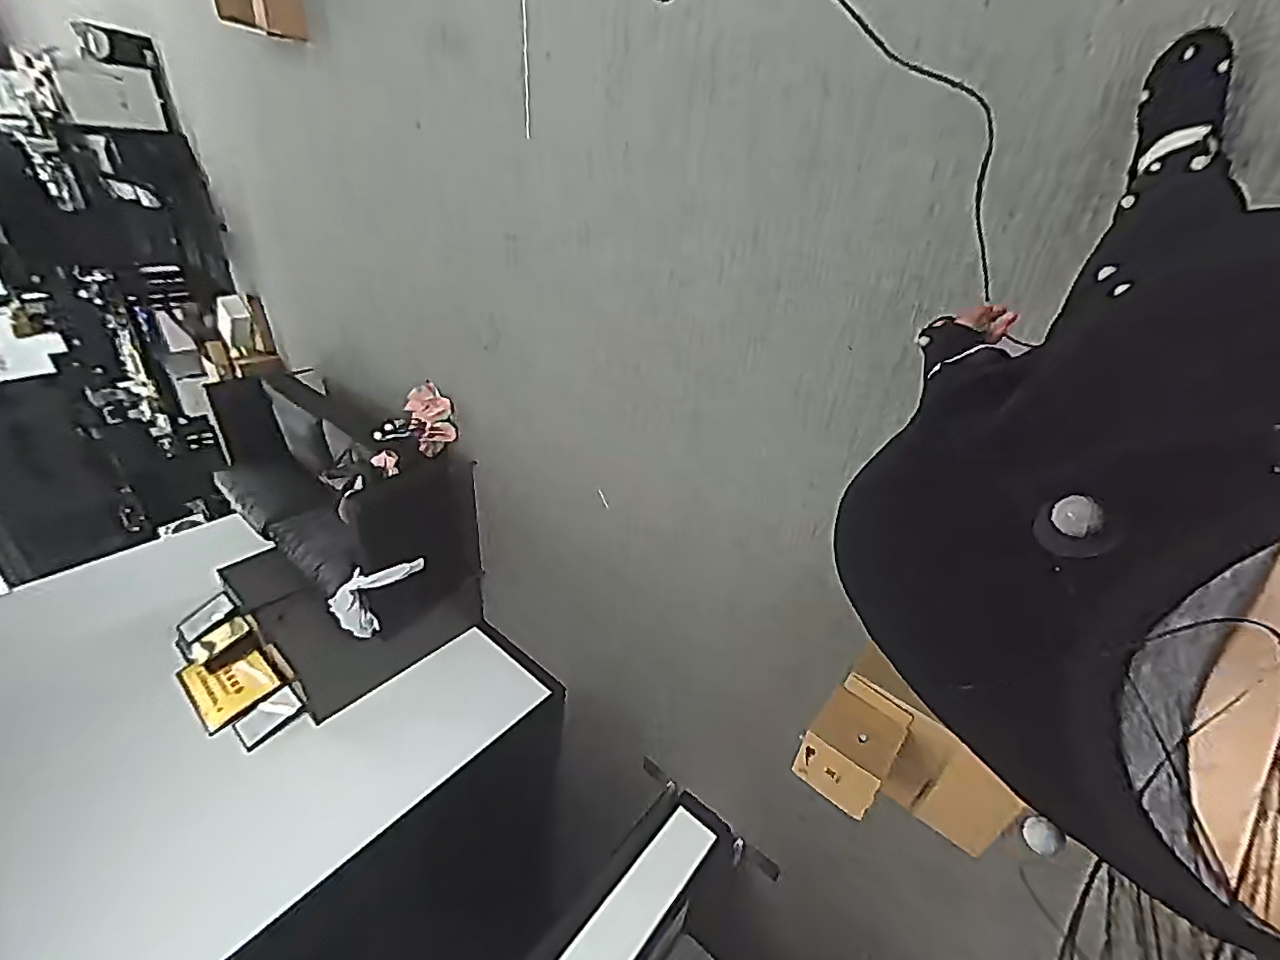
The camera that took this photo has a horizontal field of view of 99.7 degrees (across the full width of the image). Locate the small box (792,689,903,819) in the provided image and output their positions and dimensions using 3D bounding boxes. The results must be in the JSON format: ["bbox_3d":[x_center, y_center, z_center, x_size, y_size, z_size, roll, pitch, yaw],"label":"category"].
[{"bbox_3d":[0.490,0.634,1.271,0.179,0.176,0.168,27,126,31],"label":"small box"}]
